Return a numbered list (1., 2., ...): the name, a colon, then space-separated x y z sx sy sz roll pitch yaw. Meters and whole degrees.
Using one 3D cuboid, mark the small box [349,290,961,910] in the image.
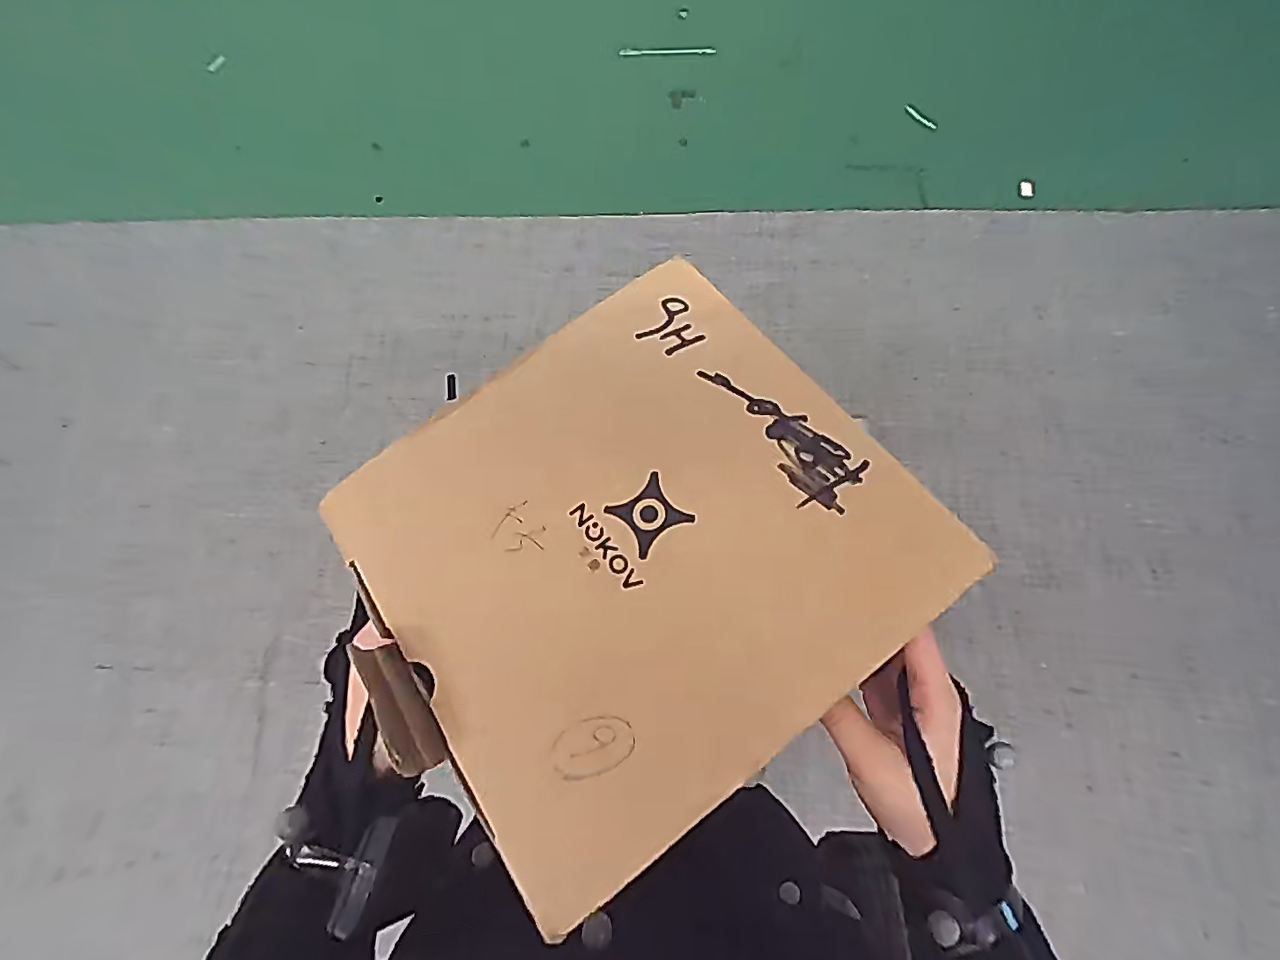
1. small box: 0.006 0.052 0.275 0.179 0.176 0.168 -37 70 -8
